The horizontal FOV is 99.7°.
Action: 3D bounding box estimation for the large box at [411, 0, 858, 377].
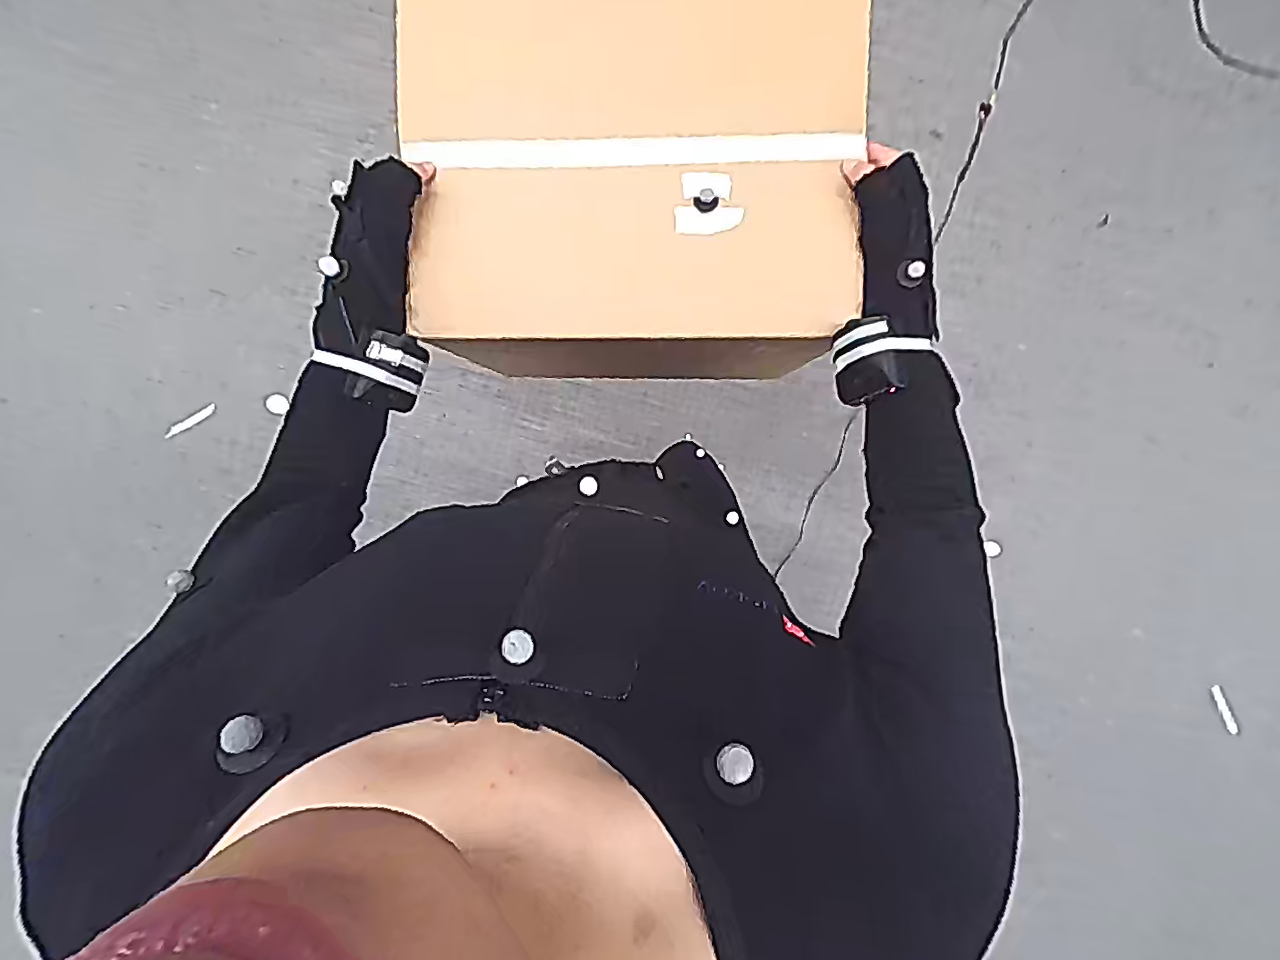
[{"bbox_3d":[-0.002,-0.301,0.633,0.408,0.320,0.320,0,94,2],"label":"large box"}]
